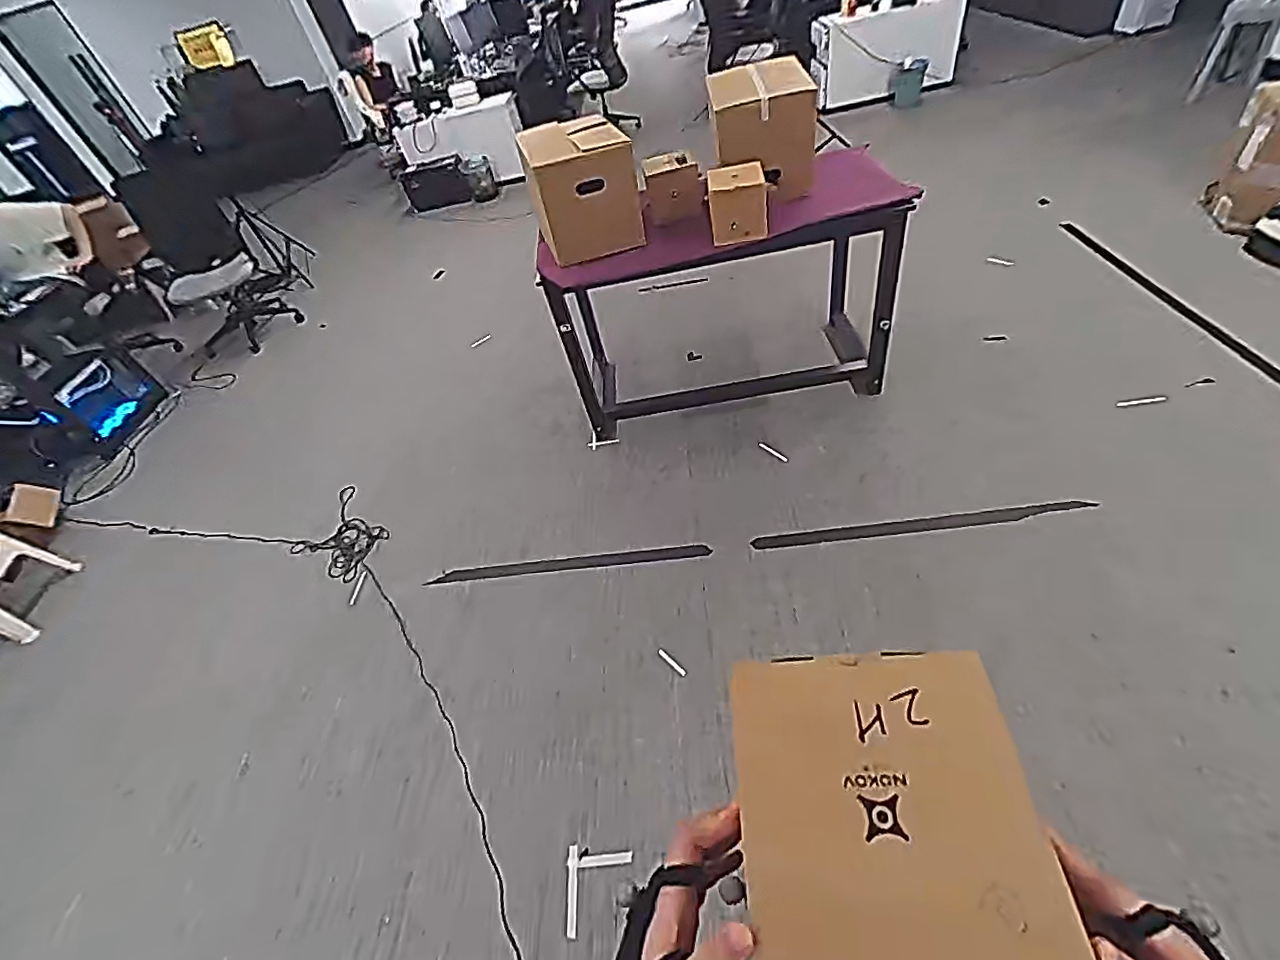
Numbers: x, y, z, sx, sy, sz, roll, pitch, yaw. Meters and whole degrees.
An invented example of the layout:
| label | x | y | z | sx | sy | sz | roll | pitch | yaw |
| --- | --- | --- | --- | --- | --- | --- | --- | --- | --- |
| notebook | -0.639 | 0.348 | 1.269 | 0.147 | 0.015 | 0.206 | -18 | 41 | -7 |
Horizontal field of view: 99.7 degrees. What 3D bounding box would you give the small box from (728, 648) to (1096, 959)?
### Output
| label | x | y | z | sx | sy | sz | roll | pitch | yaw |
| --- | --- | --- | --- | --- | --- | --- | --- | --- | --- |
| small box | 0.153 | 0.233 | 0.369 | 0.168 | 0.176 | 0.179 | -5 | 50 | 9 |
